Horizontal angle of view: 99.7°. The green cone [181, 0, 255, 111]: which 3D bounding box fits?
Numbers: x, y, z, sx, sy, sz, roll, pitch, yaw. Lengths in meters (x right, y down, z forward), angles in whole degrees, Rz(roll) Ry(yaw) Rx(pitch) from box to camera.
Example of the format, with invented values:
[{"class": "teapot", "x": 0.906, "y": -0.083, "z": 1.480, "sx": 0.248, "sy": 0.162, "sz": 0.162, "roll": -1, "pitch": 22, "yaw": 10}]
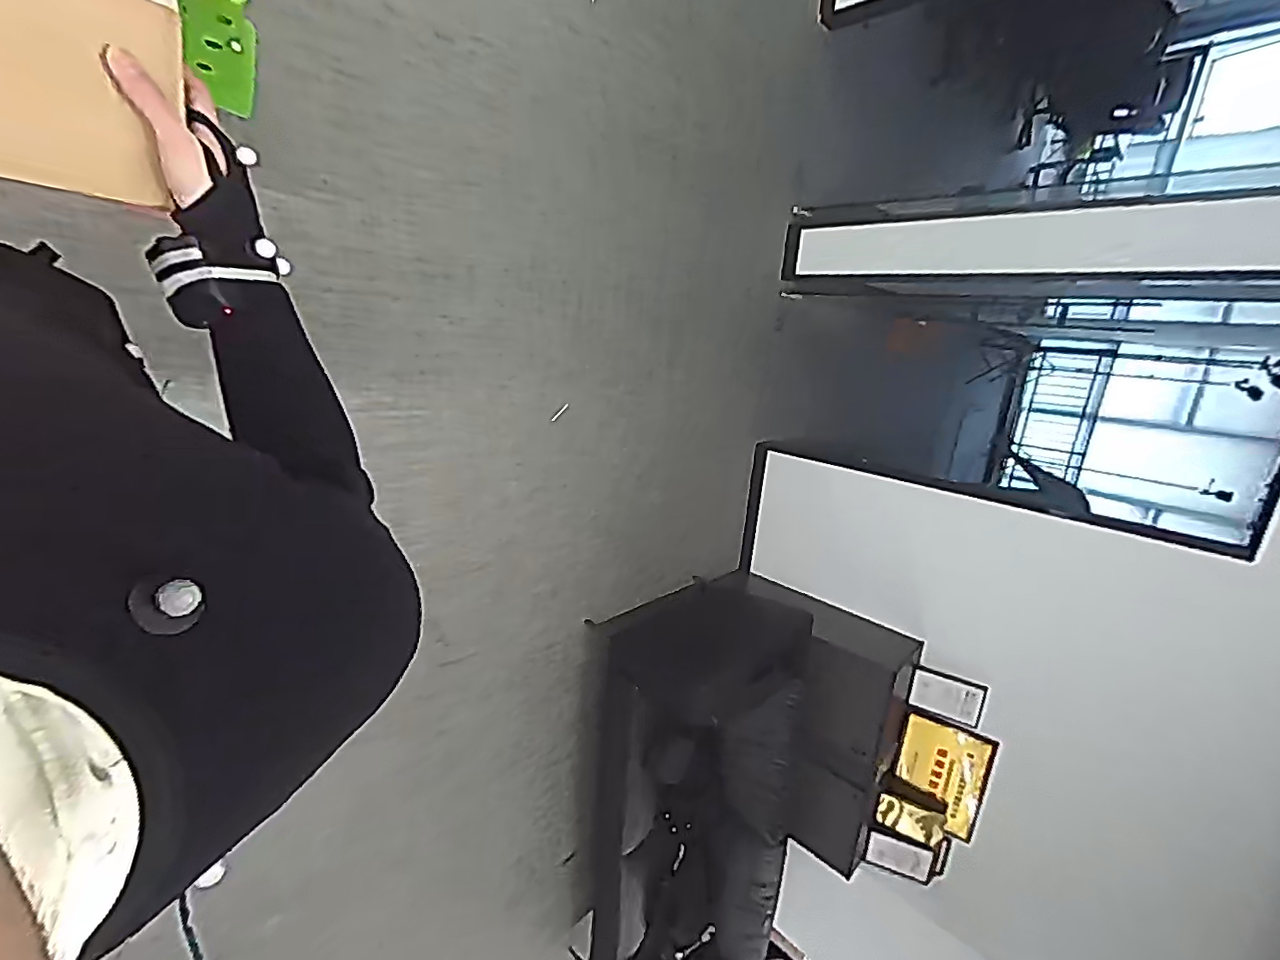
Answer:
[{"class": "green cone", "x": -0.815, "y": -0.887, "z": 1.034, "sx": 0.200, "sy": 0.368, "sz": 0.202, "roll": -3, "pitch": 105, "yaw": -48}]
